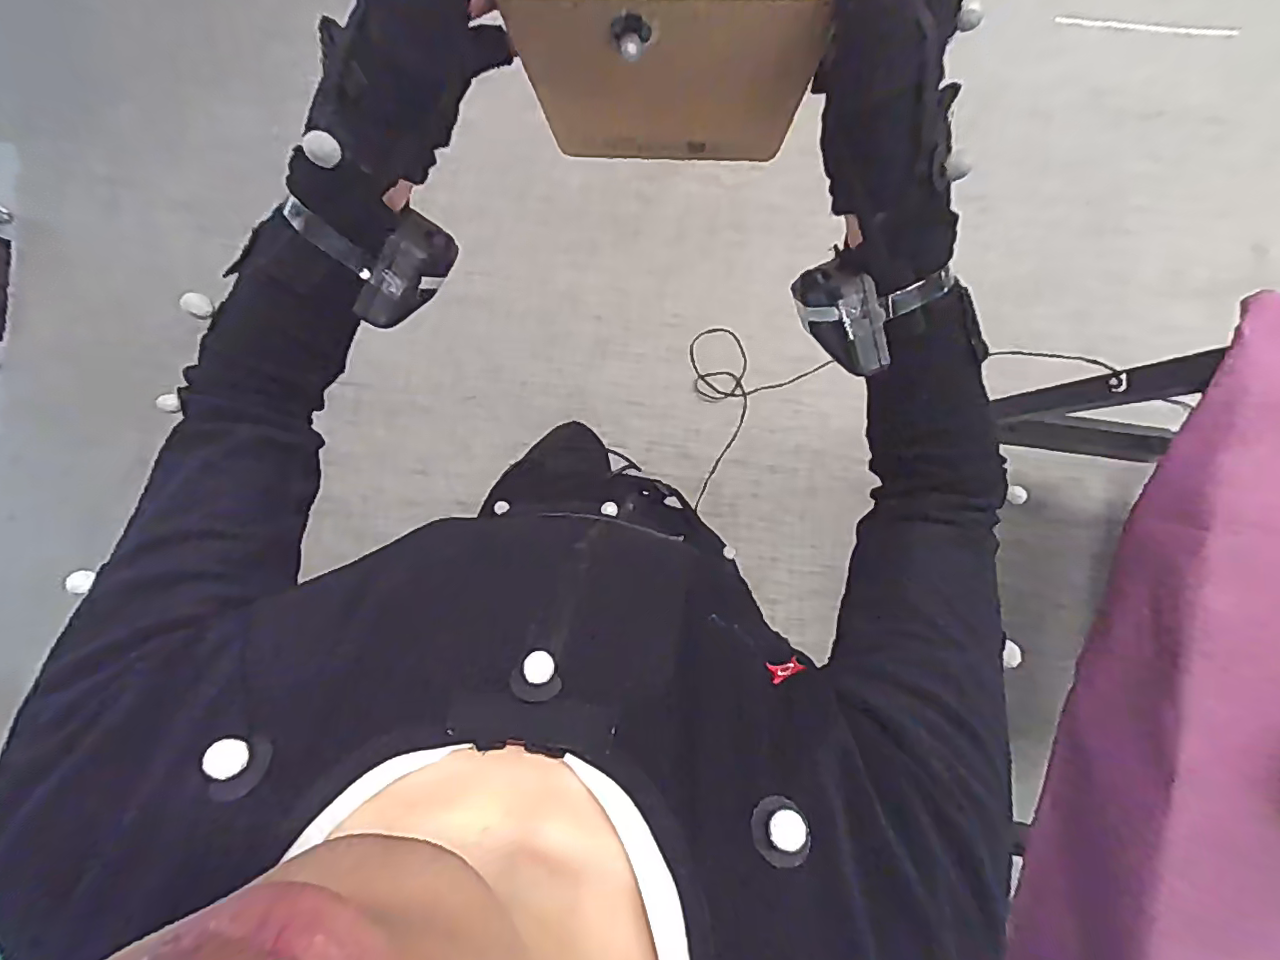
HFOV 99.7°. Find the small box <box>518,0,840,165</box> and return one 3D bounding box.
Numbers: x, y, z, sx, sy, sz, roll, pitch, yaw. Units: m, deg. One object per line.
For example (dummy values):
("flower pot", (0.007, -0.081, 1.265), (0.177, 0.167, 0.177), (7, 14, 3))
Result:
("small box", (0.023, -0.322, 0.323), (0.168, 0.176, 0.179), (4, 97, 3))
